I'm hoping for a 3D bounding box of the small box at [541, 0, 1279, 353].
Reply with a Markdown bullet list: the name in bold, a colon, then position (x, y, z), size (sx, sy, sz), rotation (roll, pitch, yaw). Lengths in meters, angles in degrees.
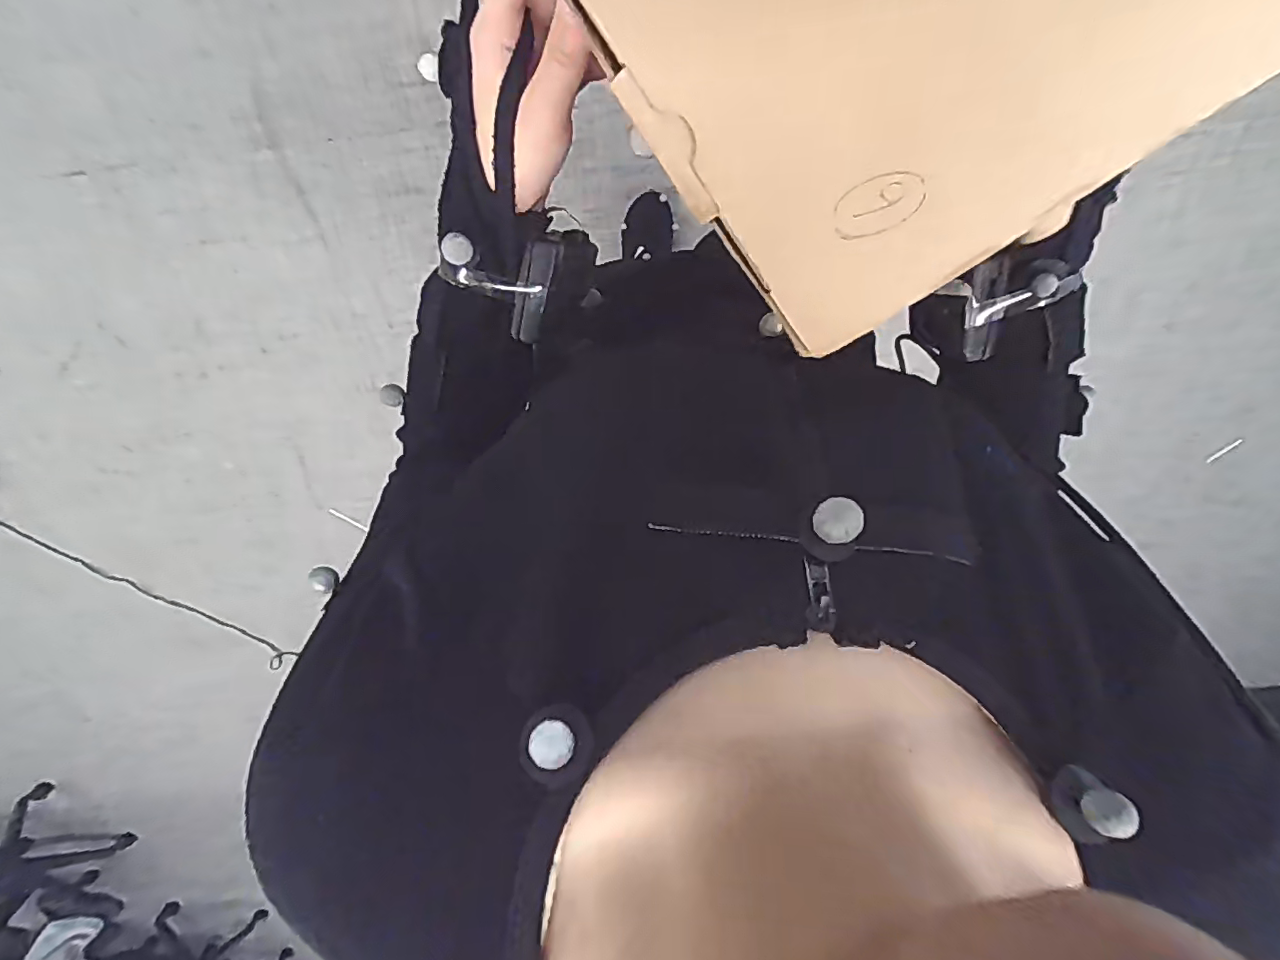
- **small box**: position (0.075, -0.182, 0.183), size (0.179, 0.176, 0.168), rotation (-31, 119, 25)
